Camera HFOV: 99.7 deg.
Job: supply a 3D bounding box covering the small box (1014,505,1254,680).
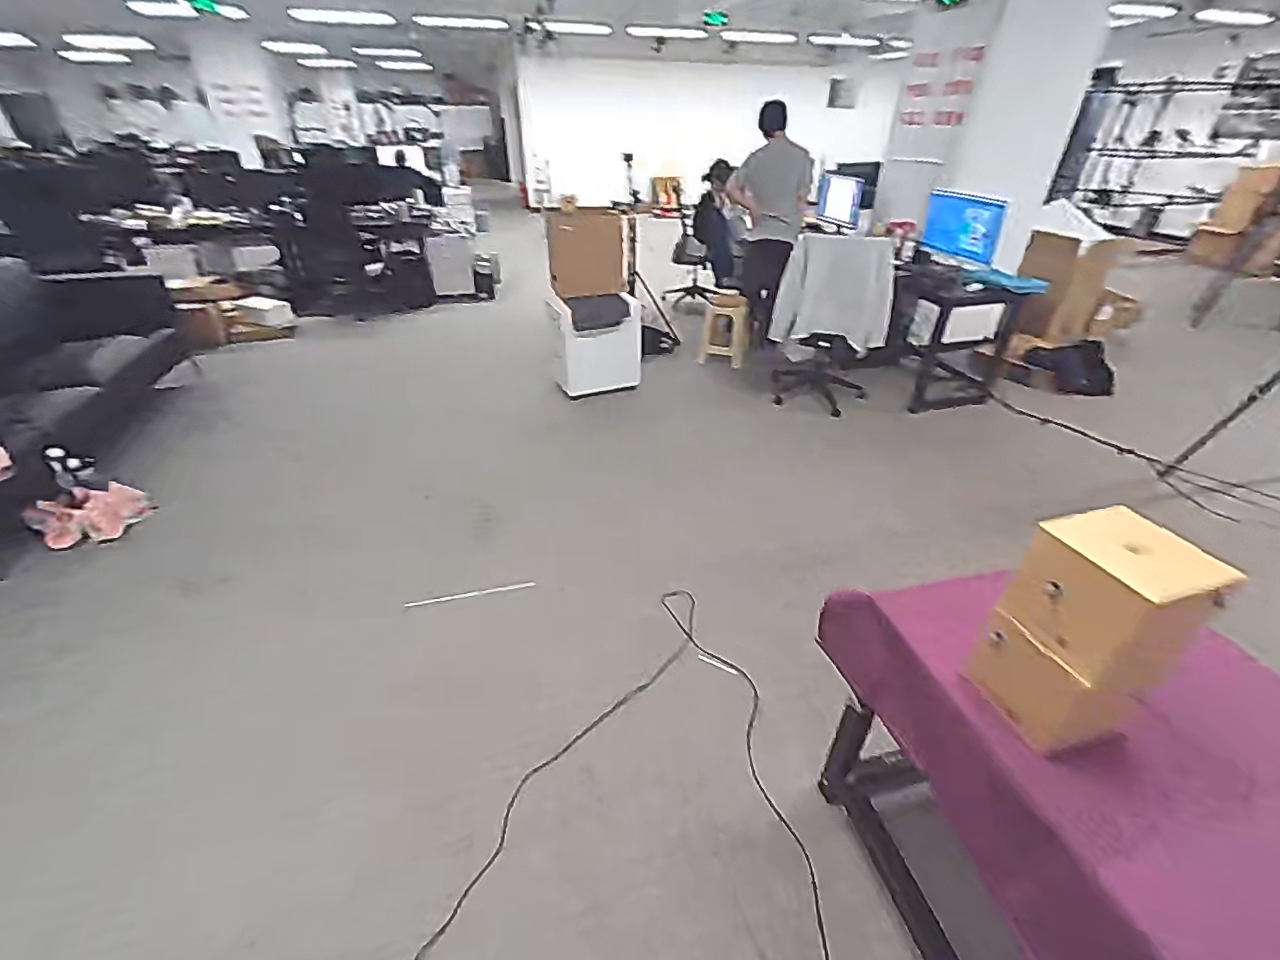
[{"bbox_3d":[0.685,0.160,0.779,0.179,0.176,0.168,-8,35,-15],"label":"small box"}]
